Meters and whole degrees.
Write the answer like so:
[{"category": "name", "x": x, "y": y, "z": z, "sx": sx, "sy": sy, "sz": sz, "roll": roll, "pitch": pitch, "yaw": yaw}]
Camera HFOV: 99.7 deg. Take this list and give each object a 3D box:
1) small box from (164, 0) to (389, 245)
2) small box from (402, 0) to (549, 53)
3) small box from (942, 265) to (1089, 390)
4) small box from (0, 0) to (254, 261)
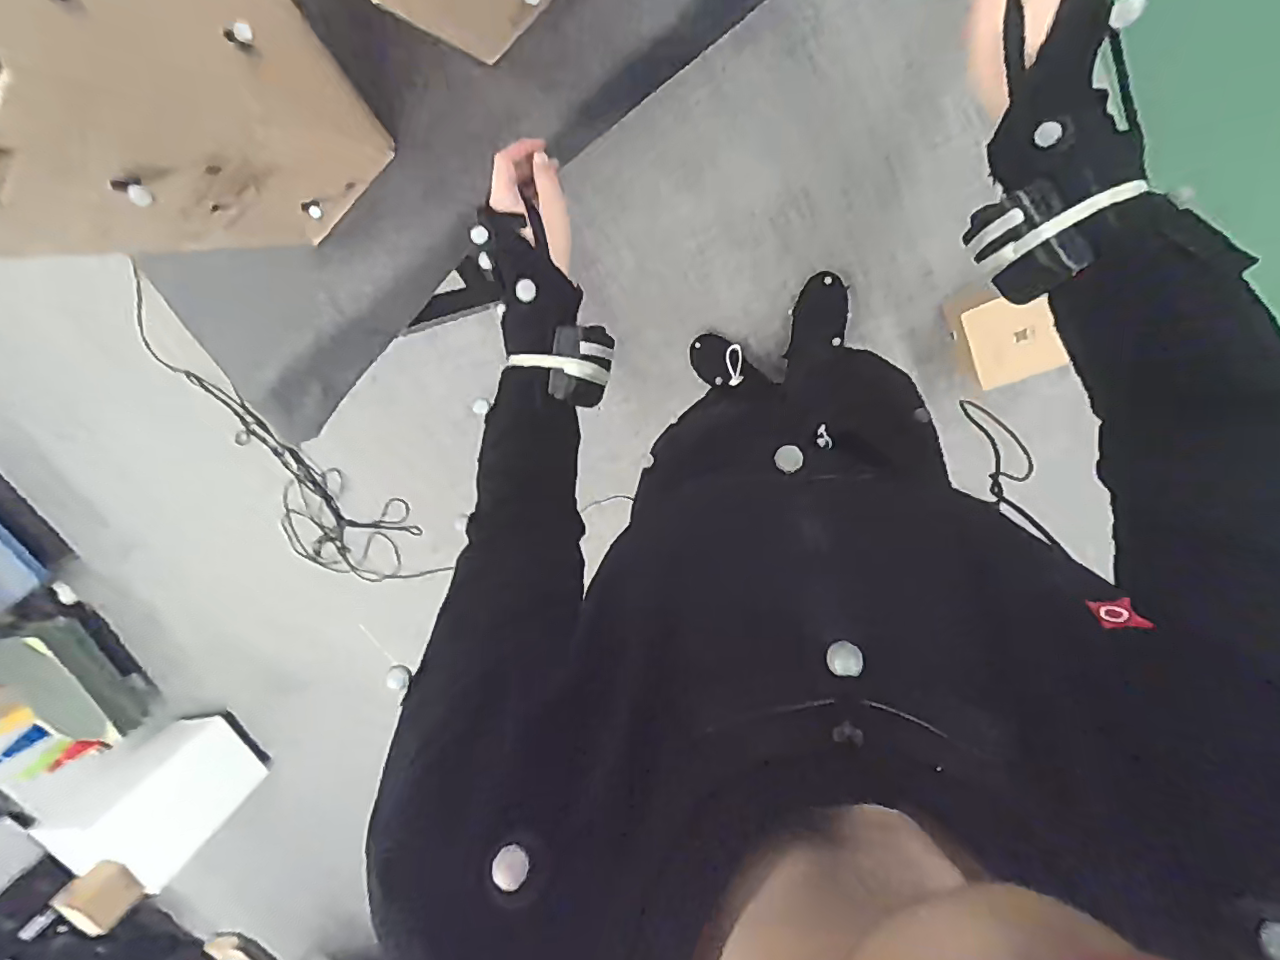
[{"category": "small box", "x": -0.389, "y": -0.349, "z": 0.514, "sx": 0.168, "sy": 0.176, "sz": 0.179, "roll": -30, "pitch": 104, "yaw": 25}, {"category": "small box", "x": -0.143, "y": -0.464, "z": 0.386, "sx": 0.168, "sy": 0.176, "sz": 0.179, "roll": -28, "pitch": 105, "yaw": 26}, {"category": "small box", "x": 0.724, "y": -0.304, "z": 1.058, "sx": 0.179, "sy": 0.176, "sz": 0.168, "roll": -21, "pitch": 107, "yaw": 25}, {"category": "small box", "x": -0.422, "y": -0.280, "z": 0.369, "sx": 0.168, "sy": 0.176, "sz": 0.179, "roll": -31, "pitch": 105, "yaw": 26}]
